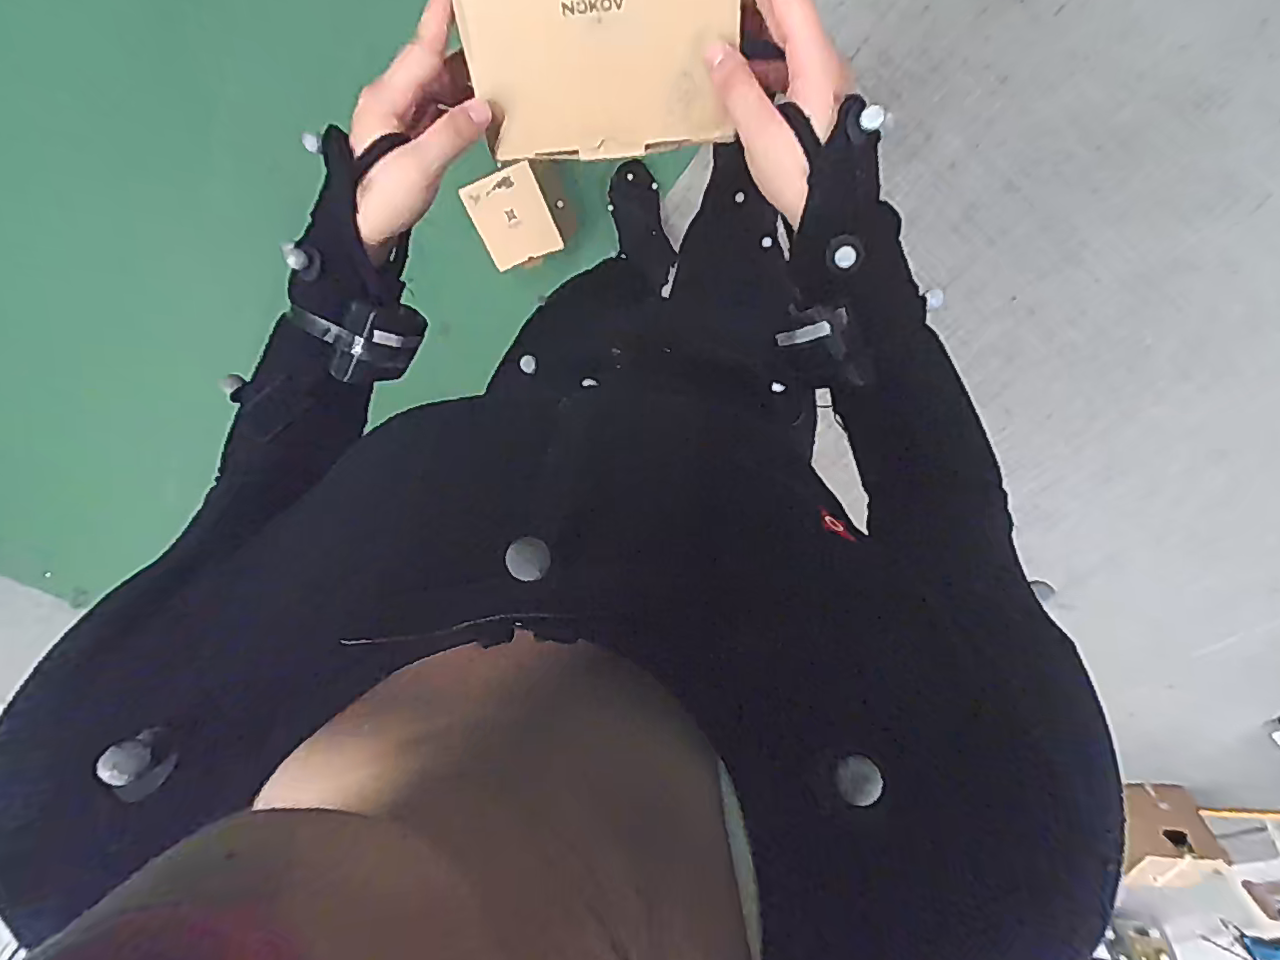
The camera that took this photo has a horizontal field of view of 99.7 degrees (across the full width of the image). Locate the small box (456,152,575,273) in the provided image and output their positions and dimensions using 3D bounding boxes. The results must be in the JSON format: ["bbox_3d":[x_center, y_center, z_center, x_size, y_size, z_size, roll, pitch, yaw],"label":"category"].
[{"bbox_3d":[-0.256,-0.582,1.167,0.168,0.176,0.179,-13,127,17],"label":"small box"}]

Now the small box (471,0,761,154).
[{"bbox_3d":[-0.008,-0.334,0.348,0.168,0.176,0.179,-2,131,8],"label":"small box"}]
